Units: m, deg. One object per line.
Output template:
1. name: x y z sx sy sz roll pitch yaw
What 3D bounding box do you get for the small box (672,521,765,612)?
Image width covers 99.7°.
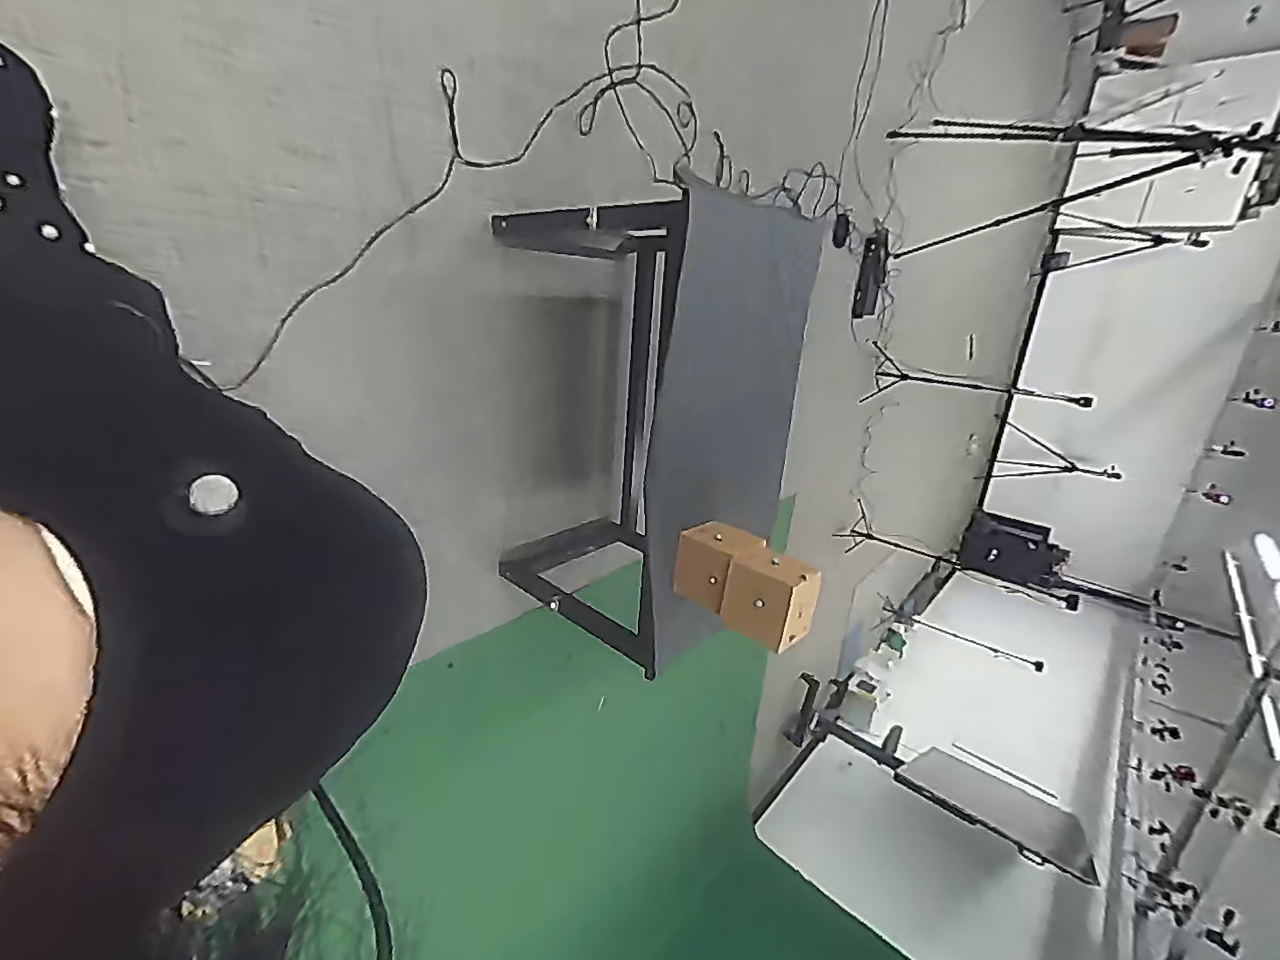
1. small box: 0.202 0.218 1.419 0.168 0.176 0.179 -12 115 -47

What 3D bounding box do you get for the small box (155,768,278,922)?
1. small box: -0.912 0.770 1.162 0.179 0.176 0.168 -14 115 -47

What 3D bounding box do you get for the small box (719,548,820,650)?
1. small box: 0.311 0.276 1.310 0.168 0.176 0.179 -8 111 -48
